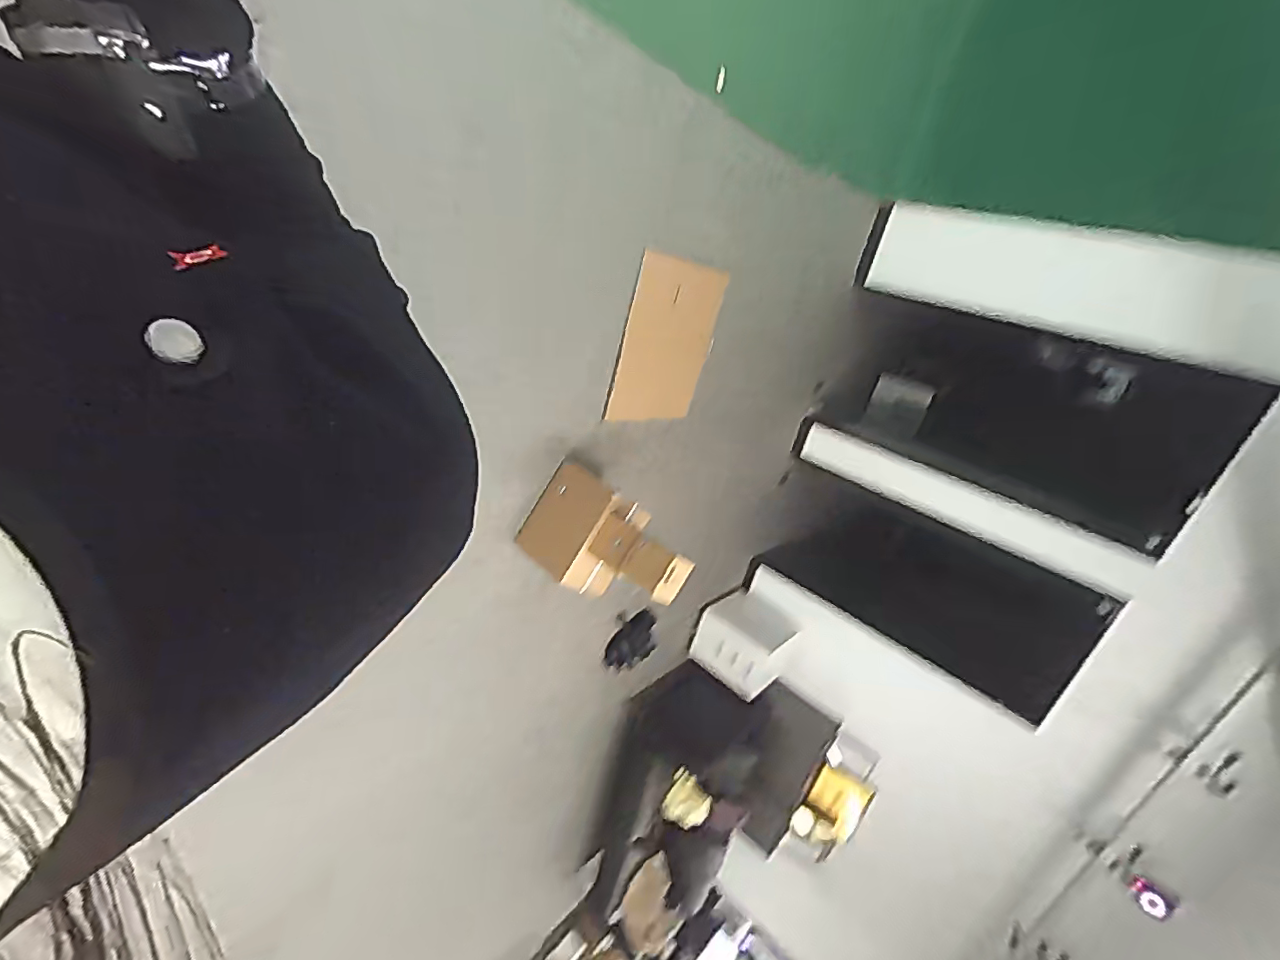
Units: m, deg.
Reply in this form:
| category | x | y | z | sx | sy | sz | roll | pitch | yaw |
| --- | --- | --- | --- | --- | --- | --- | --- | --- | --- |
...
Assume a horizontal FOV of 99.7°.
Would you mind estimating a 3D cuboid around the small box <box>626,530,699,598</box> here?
| category | x | y | z | sx | sy | sz | roll | pitch | yaw |
| --- | --- | --- | --- | --- | --- | --- | --- | --- | --- |
| small box | 0.079 | 0.300 | 1.945 | 0.168 | 0.176 | 0.179 | -59 | 147 | -2 |

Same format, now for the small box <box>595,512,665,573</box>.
| category | x | y | z | sx | sy | sz | roll | pitch | yaw |
| --- | --- | --- | --- | --- | --- | --- | --- | --- | --- |
| small box | -0.040 | 0.238 | 2.046 | 0.168 | 0.176 | 0.179 | 24 | 95 | -58 |
